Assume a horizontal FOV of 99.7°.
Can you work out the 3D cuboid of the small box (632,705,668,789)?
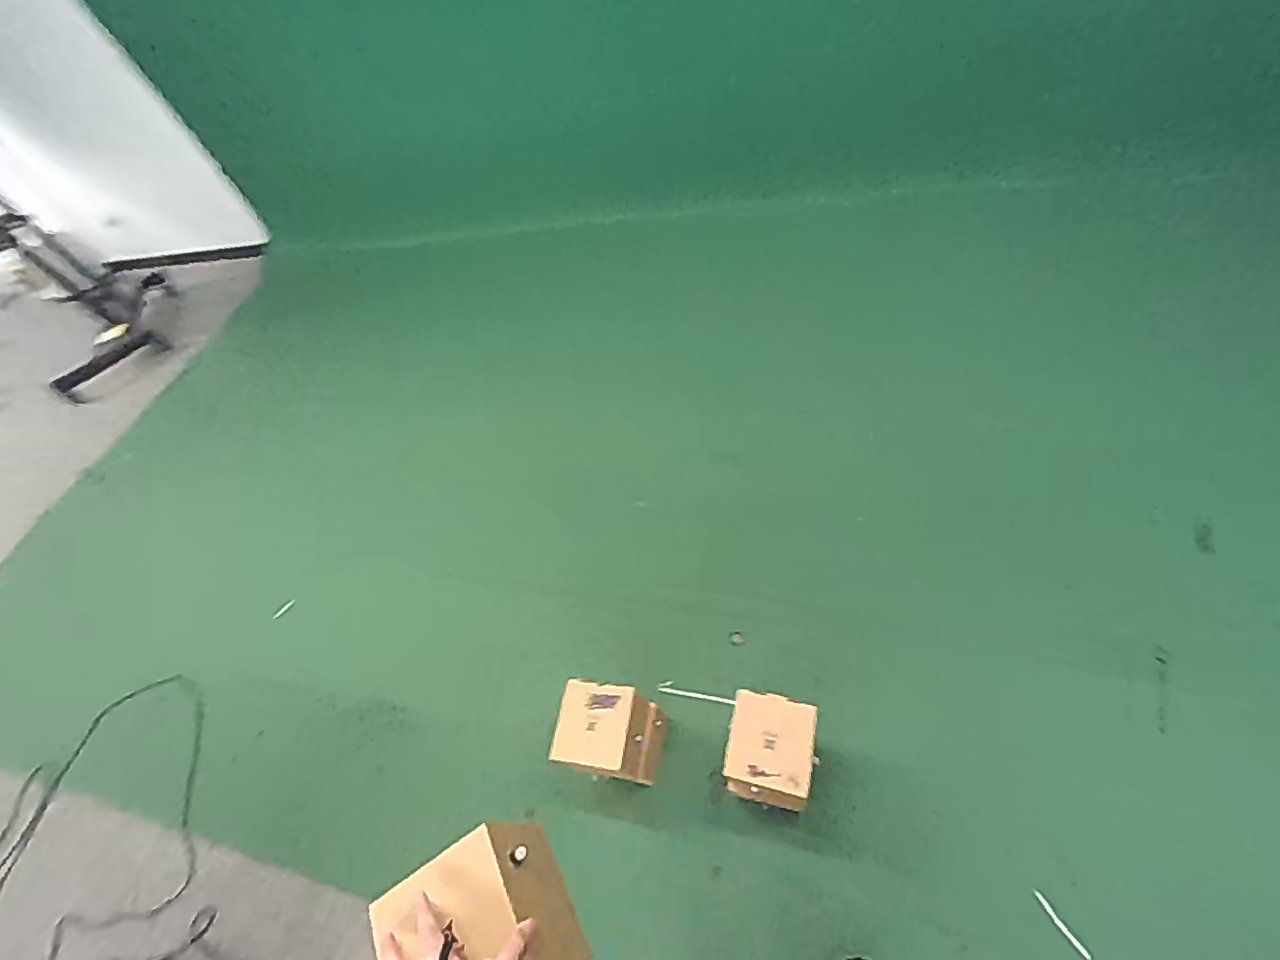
[{"bbox_3d":[-0.034,0.681,1.400,0.168,0.176,0.179,4,56,19],"label":"small box"}]

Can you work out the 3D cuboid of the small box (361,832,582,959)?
[{"bbox_3d":[-0.197,0.565,0.656,0.168,0.176,0.179,-35,55,-4],"label":"small box"}]

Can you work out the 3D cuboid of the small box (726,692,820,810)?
[{"bbox_3d":[0.288,0.586,1.165,0.168,0.176,0.179,7,58,20],"label":"small box"}]

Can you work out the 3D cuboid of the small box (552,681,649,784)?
[{"bbox_3d":[-0.082,0.594,1.270,0.168,0.176,0.179,2,57,18],"label":"small box"}]
